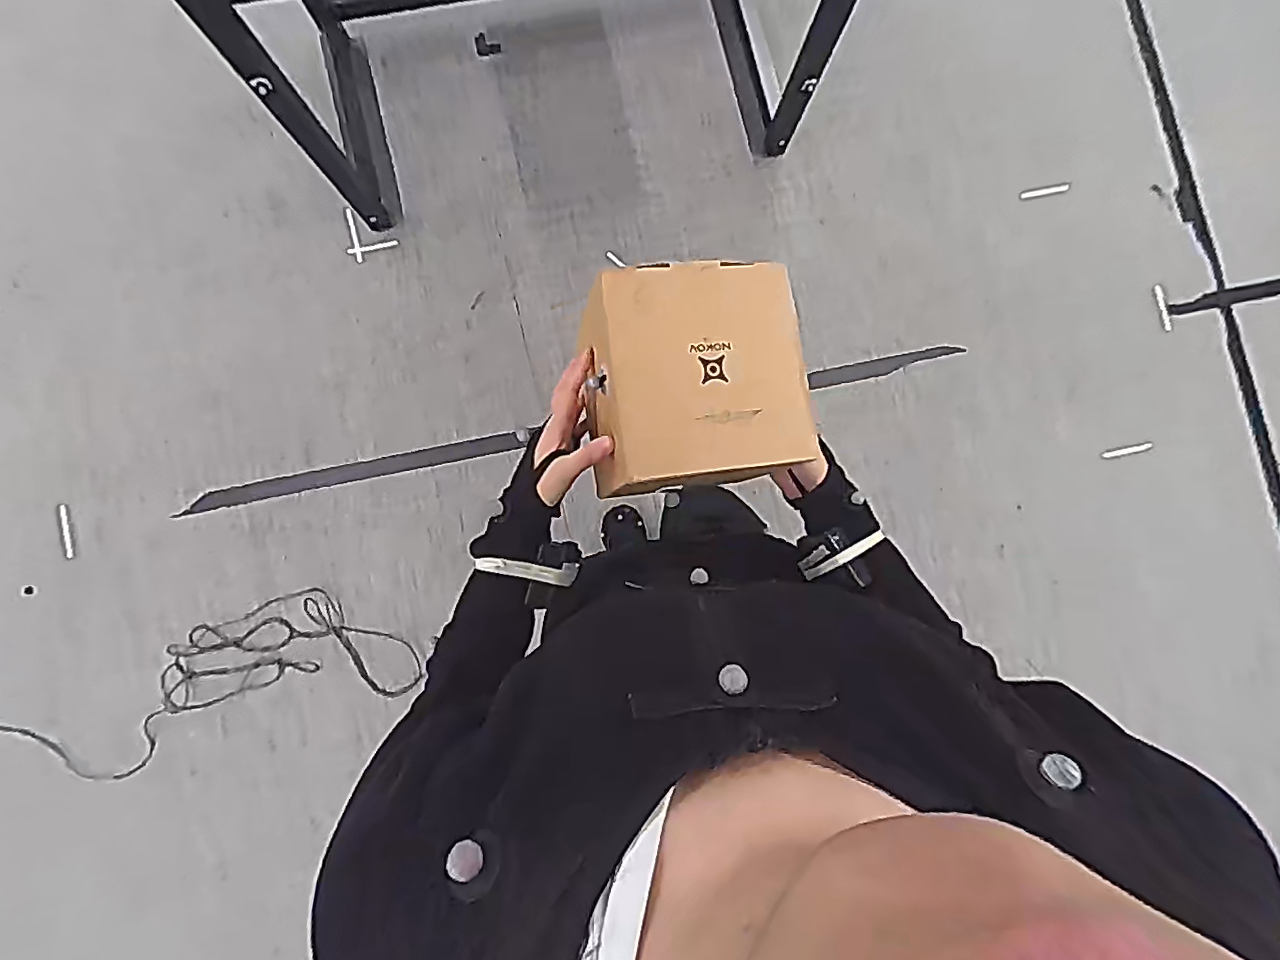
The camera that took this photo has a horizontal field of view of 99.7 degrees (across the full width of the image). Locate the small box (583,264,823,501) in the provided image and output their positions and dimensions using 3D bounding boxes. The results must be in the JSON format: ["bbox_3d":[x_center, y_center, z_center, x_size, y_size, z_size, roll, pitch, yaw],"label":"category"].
[{"bbox_3d":[0.044,-0.081,0.513,0.168,0.176,0.179,-7,85,-13],"label":"small box"}]
